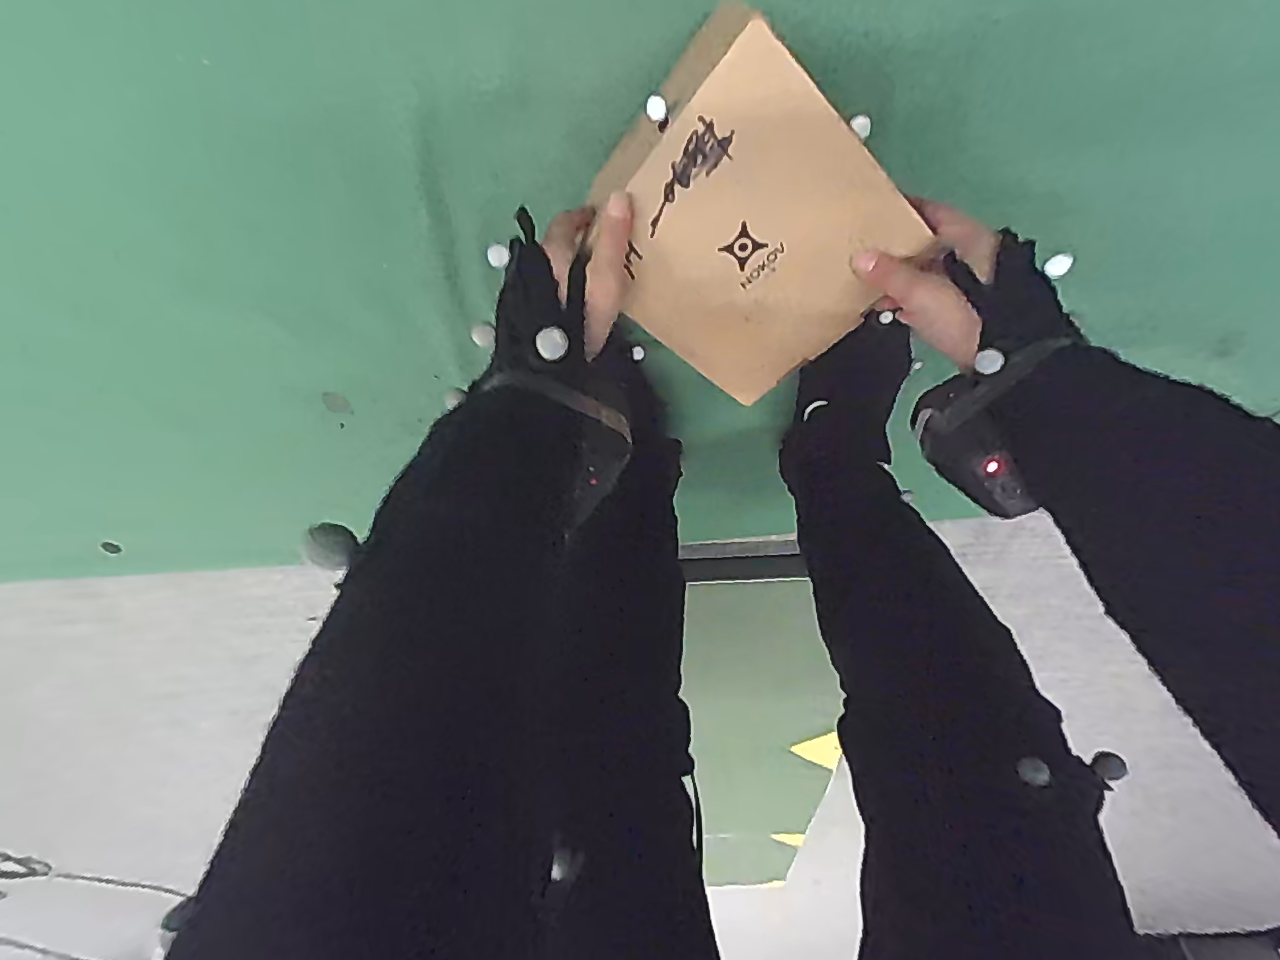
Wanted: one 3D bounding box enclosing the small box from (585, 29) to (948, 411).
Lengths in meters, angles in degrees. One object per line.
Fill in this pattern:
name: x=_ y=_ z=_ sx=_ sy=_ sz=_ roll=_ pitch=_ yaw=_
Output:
small box: x=0.083 y=-0.193 z=0.405 sx=0.179 sy=0.176 sz=0.168 roll=32 pitch=127 yaw=-24
